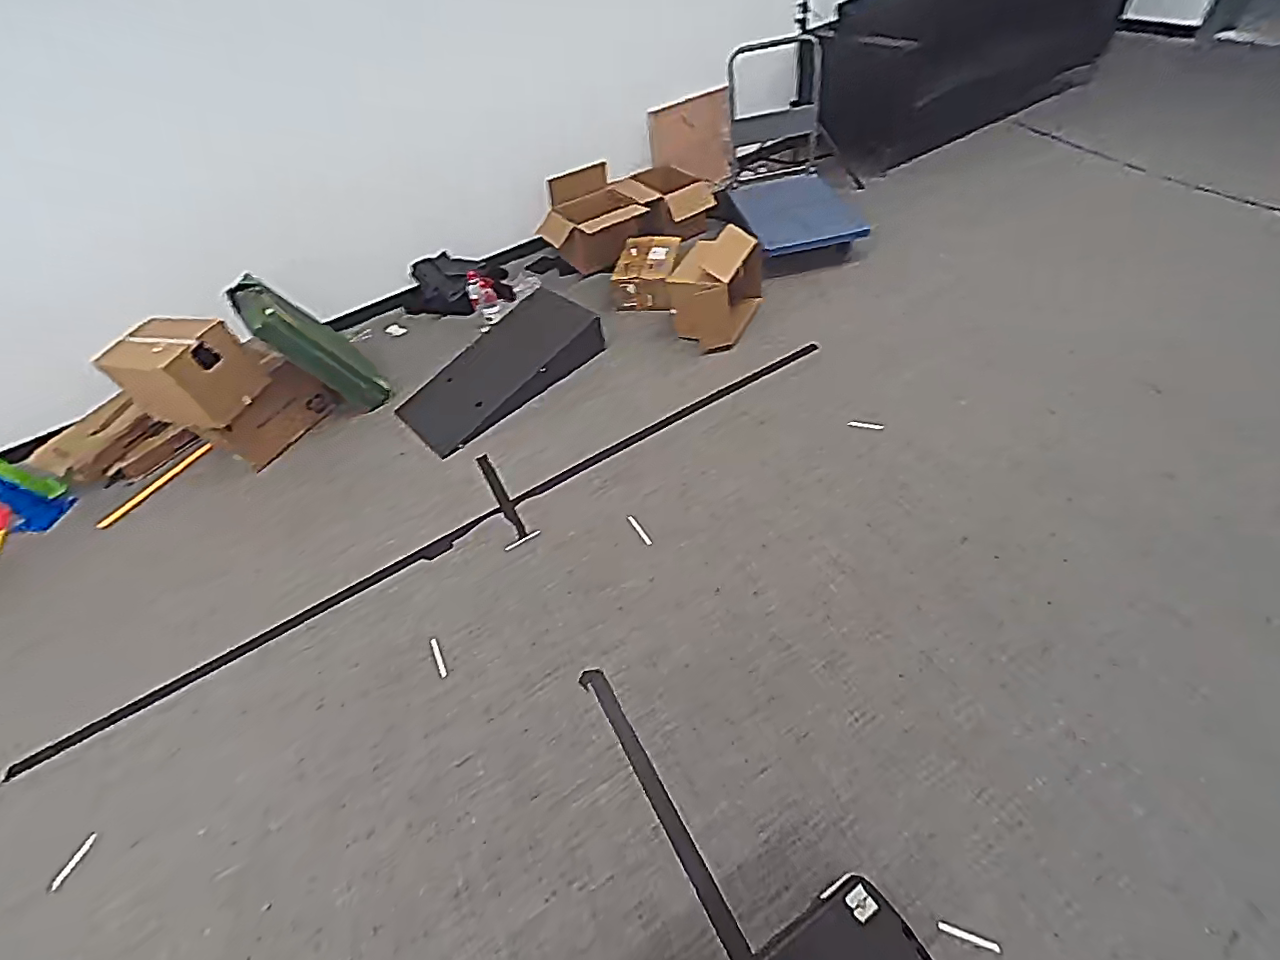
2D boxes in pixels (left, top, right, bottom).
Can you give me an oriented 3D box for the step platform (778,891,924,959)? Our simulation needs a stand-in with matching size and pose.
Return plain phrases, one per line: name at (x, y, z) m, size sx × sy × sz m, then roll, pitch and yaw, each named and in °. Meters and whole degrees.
step platform at (0.276, 1.129, 1.018) m, size 0.684 × 0.204 × 0.286 m, roll -29°, pitch 51°, yaw -15°
